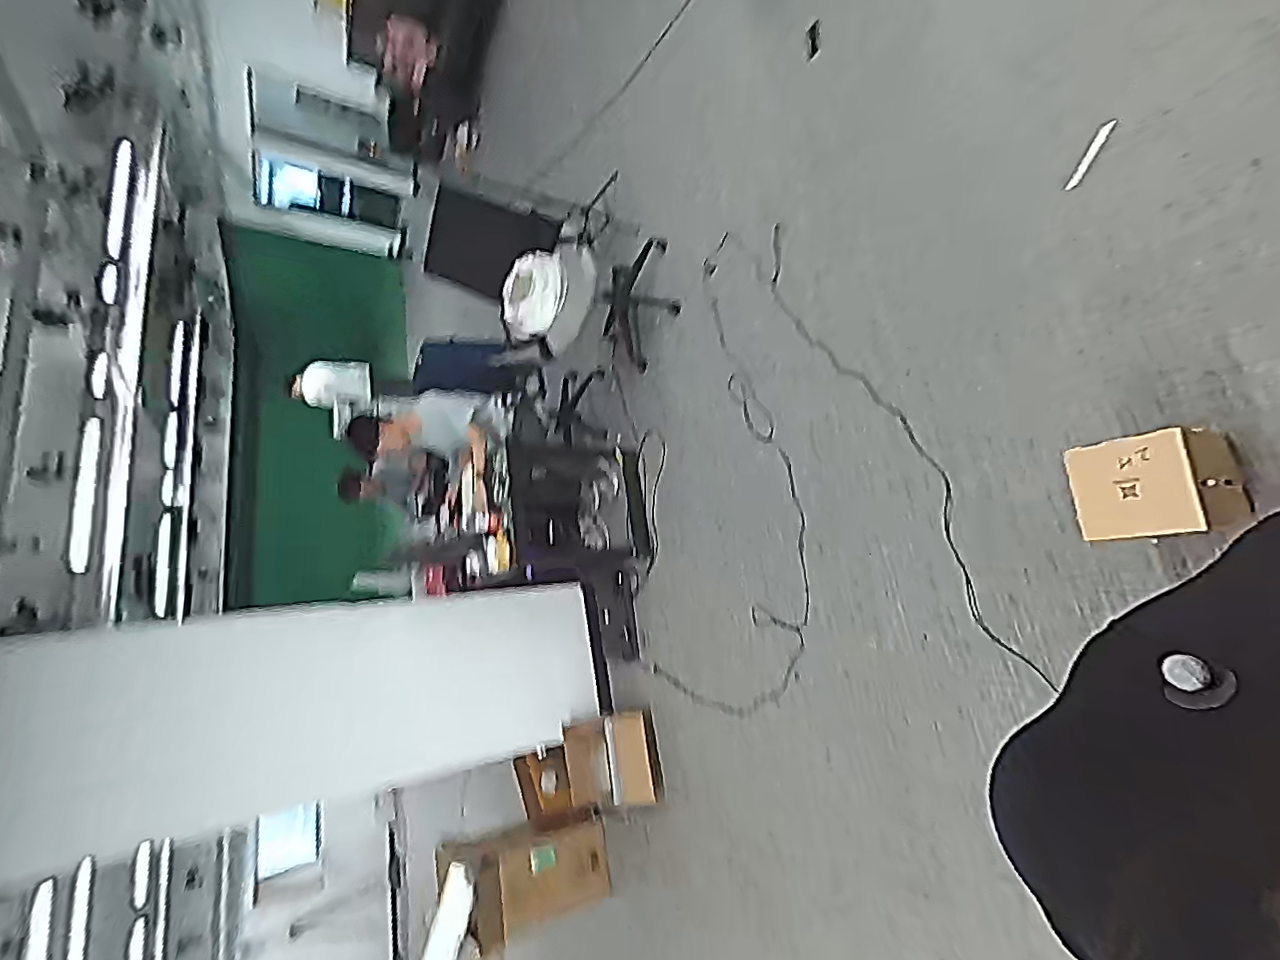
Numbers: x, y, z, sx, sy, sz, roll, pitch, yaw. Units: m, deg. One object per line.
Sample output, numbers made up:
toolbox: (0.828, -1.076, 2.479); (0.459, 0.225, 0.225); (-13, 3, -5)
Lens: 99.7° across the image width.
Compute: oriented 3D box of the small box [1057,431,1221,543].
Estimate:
small box: (0.913, 0.016, 0.991); (0.168, 0.176, 0.179); (-20, 72, 55)

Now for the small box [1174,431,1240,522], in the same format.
small box: (1.049, 0.008, 1.085); (0.168, 0.176, 0.179); (-23, 71, 54)
